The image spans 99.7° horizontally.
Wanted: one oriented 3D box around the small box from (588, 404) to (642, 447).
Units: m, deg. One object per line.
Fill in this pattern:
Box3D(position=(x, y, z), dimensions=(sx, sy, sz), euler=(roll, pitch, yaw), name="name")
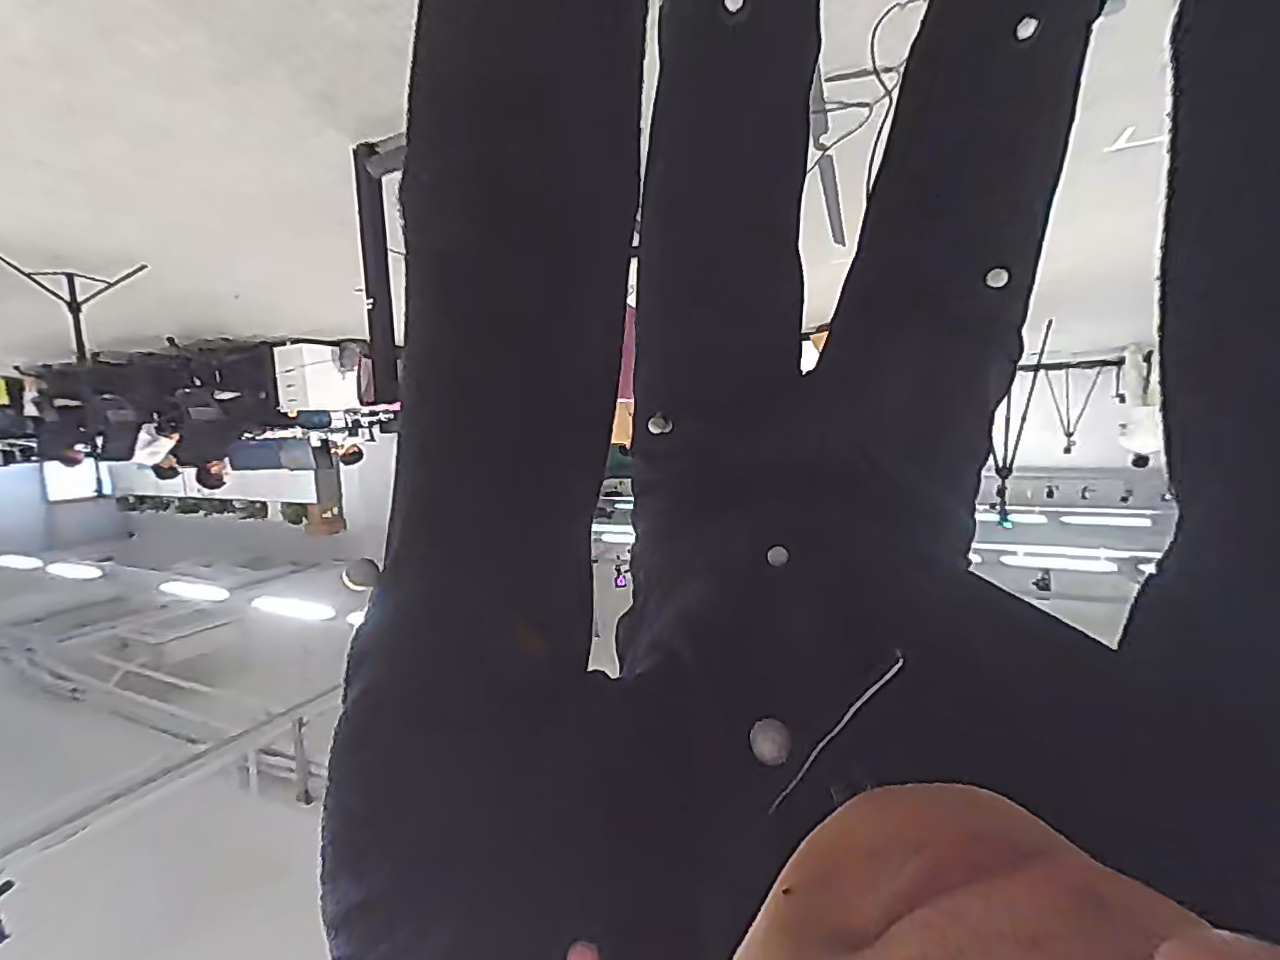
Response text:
Box3D(position=(-0.105, -0.229, 2.284), dimensions=(0.179, 0.176, 0.168), euler=(1, -172, 34), name="small box")
